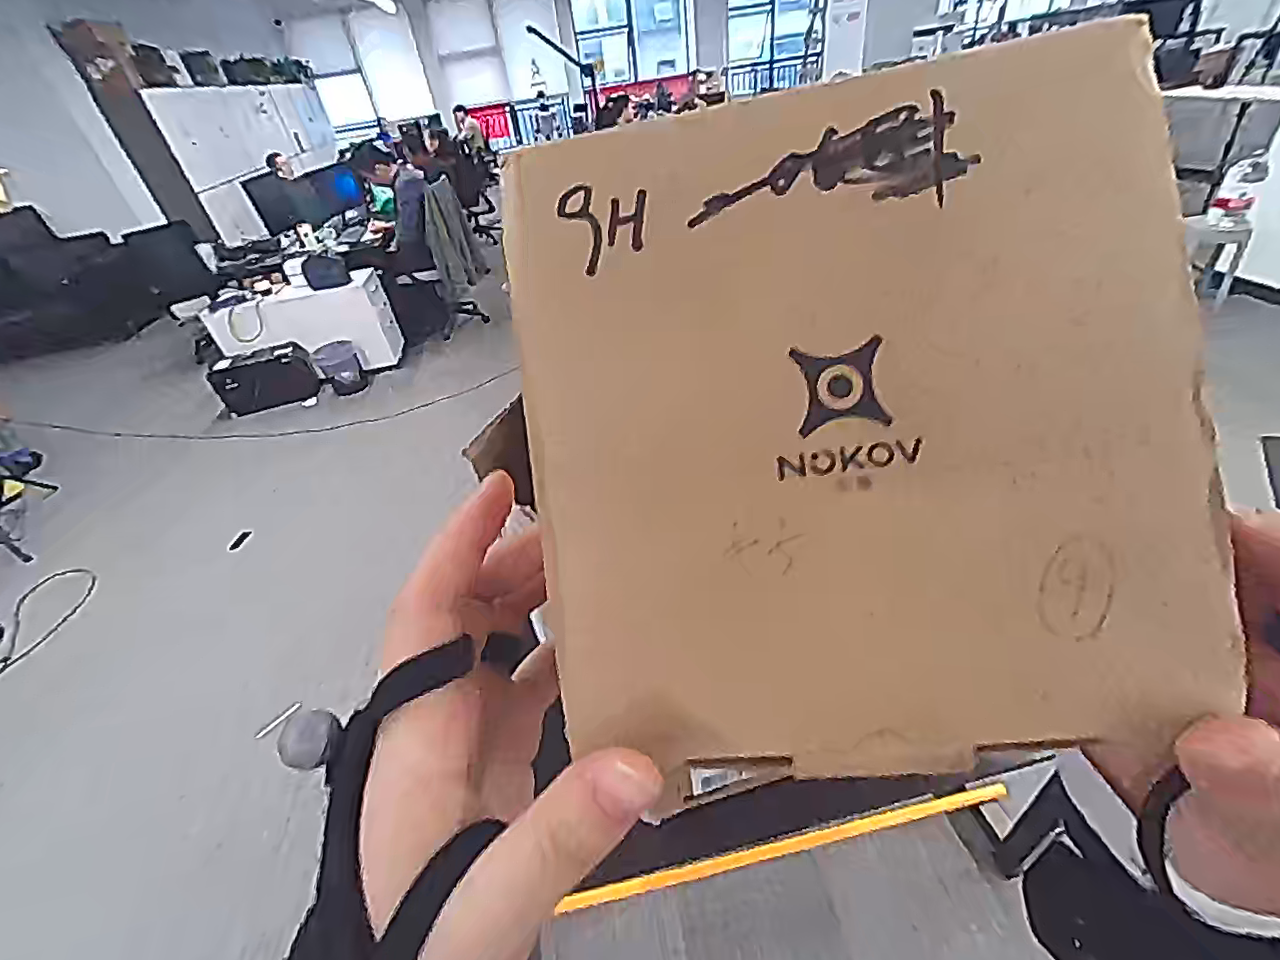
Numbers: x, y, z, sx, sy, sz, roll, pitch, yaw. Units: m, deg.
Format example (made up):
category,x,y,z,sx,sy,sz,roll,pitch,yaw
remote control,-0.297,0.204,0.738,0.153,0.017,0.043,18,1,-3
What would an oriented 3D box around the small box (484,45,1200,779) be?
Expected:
category,x,y,z,sx,sy,sz,roll,pitch,yaw
small box,0.057,-0.011,0.220,0.168,0.179,0.176,-6,0,9
